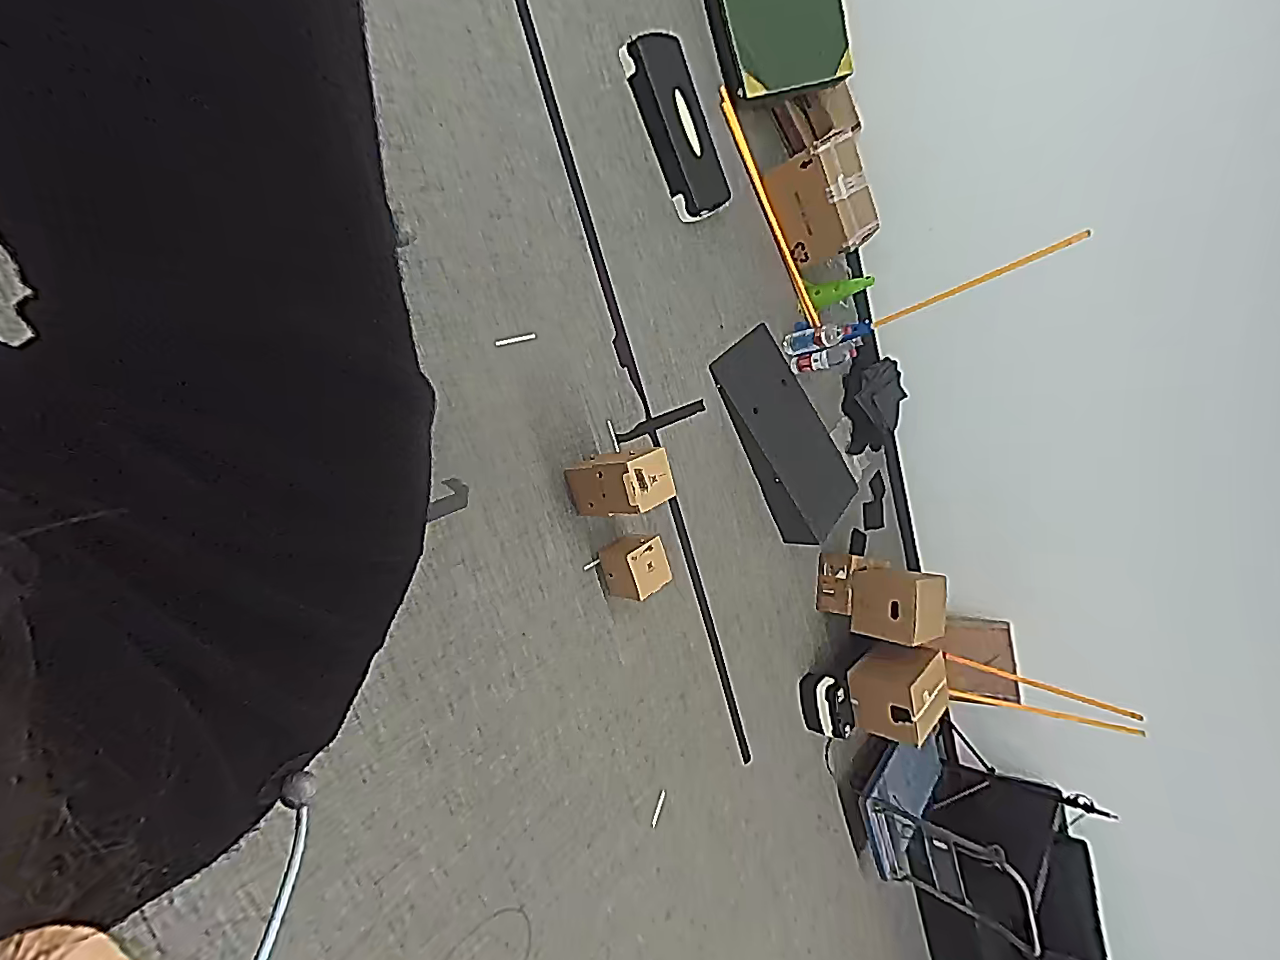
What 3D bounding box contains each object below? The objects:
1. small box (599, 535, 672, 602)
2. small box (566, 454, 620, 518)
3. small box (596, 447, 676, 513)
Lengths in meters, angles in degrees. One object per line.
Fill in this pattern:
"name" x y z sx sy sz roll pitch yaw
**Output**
"small box" -0.019 0.306 1.914 0.168 0.176 0.179 -28 107 -39
"small box" -0.123 0.015 1.833 0.168 0.176 0.179 -28 107 -39
"small box" -0.018 0.002 1.708 0.179 0.176 0.168 -25 106 -41
